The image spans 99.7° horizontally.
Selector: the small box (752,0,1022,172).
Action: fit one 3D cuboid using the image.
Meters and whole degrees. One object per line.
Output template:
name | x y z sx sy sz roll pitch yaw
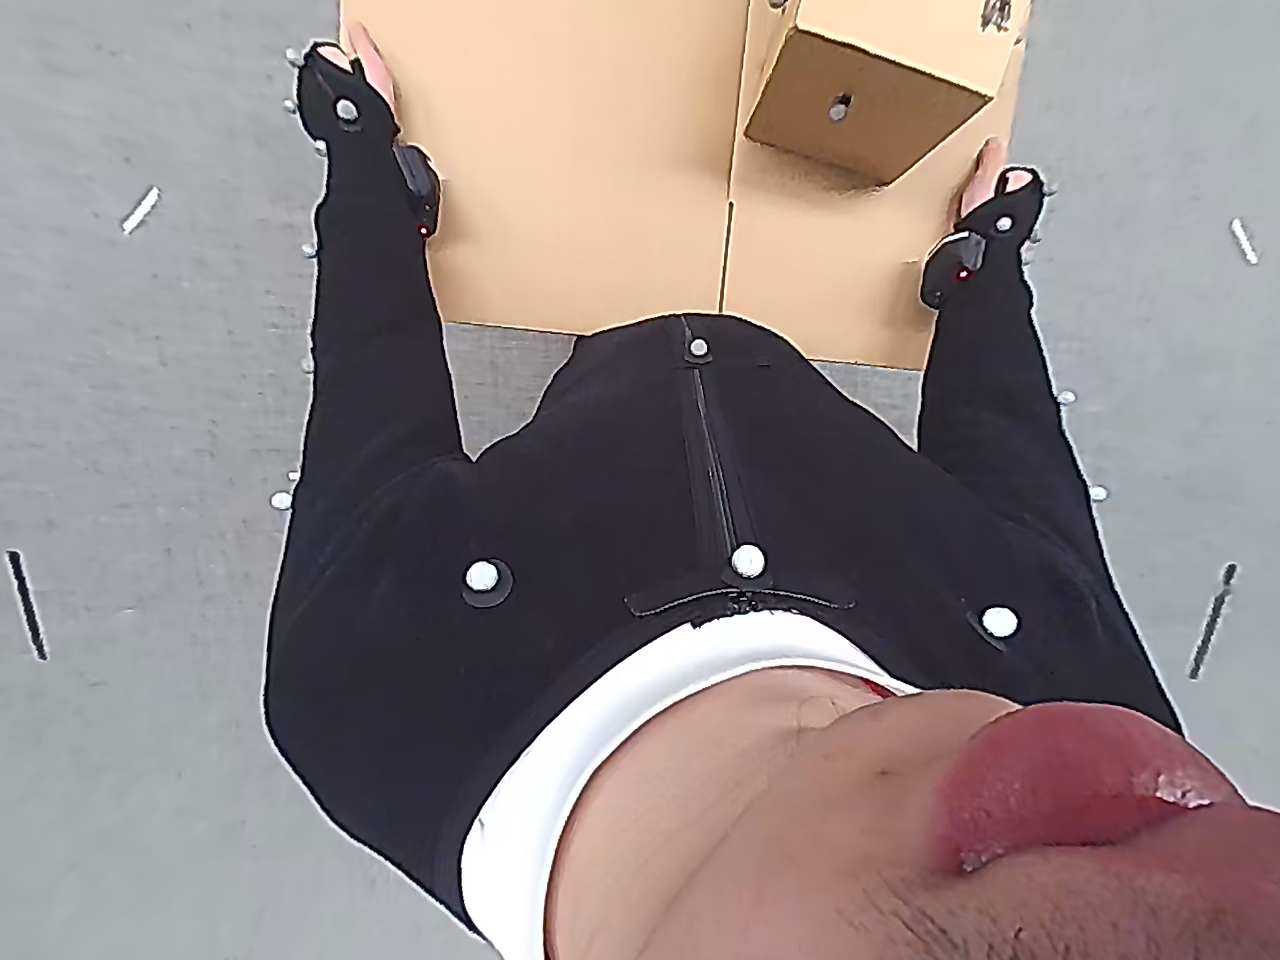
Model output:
small box | 0.220 -0.420 0.501 0.179 0.176 0.168 16 97 -3
